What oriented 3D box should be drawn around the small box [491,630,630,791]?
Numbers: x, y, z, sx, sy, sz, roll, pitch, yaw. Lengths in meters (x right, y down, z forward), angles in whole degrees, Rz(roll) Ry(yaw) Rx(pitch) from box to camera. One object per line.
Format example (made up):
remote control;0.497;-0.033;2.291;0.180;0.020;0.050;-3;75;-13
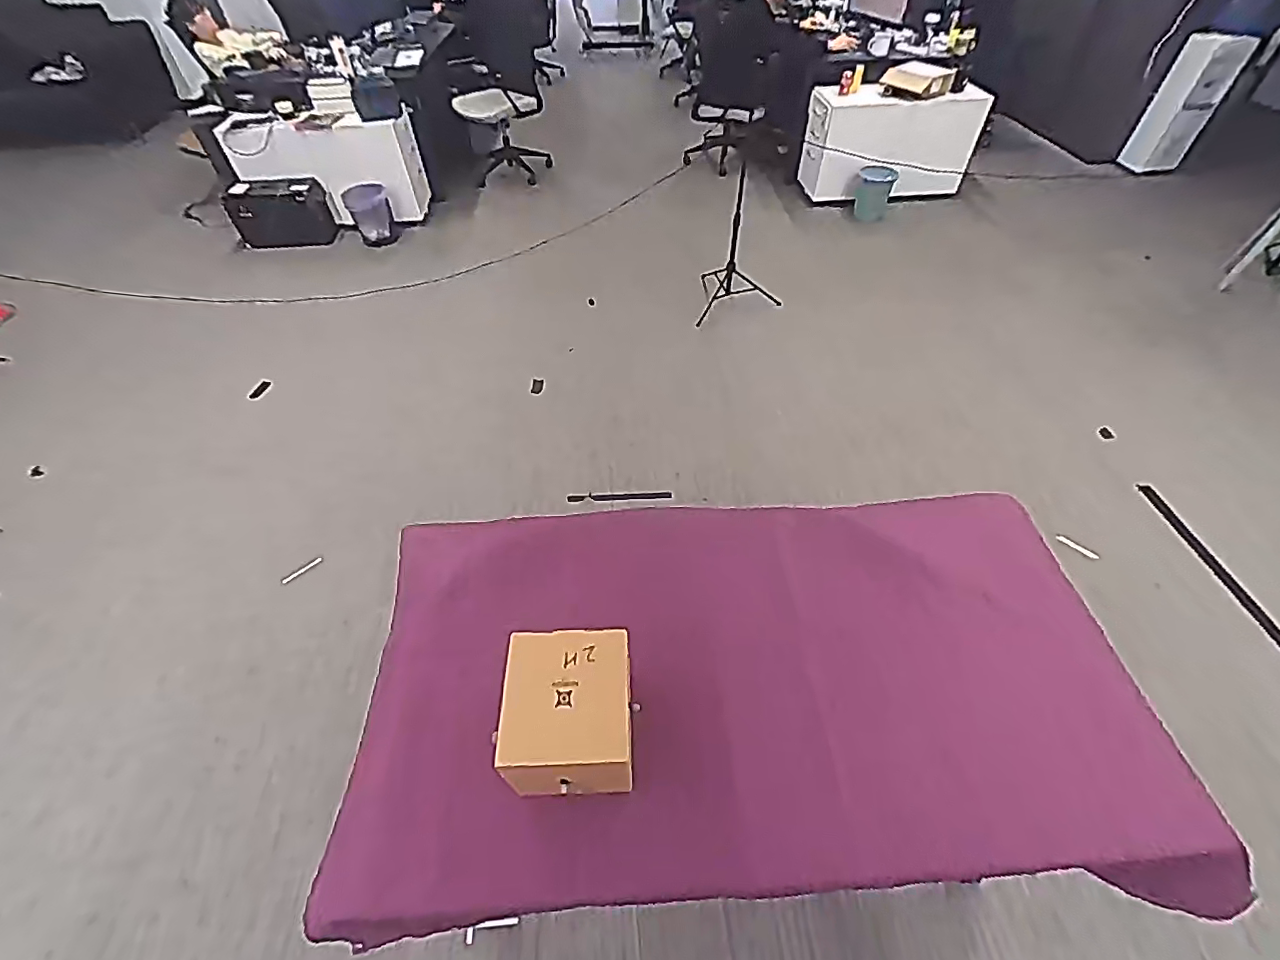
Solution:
small box;-0.100;0.331;0.768;0.168;0.176;0.179;-1;49;-1
